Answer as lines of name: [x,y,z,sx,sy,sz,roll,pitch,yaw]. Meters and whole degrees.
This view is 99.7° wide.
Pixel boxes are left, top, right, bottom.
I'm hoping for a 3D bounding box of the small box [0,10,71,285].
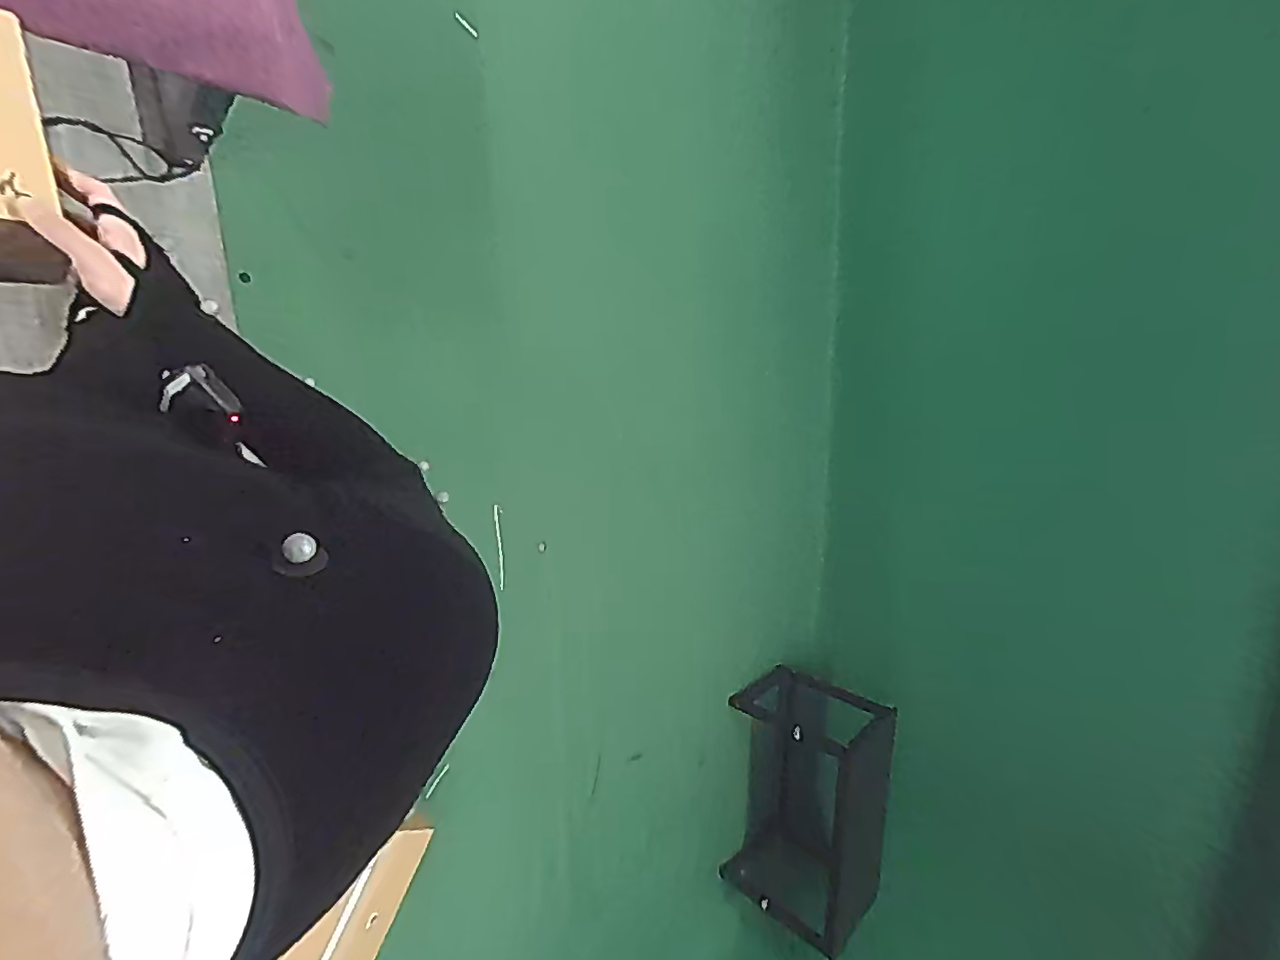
small box: [-0.615,-0.285,0.454,0.168,0.176,0.179,-13,96,-45]
